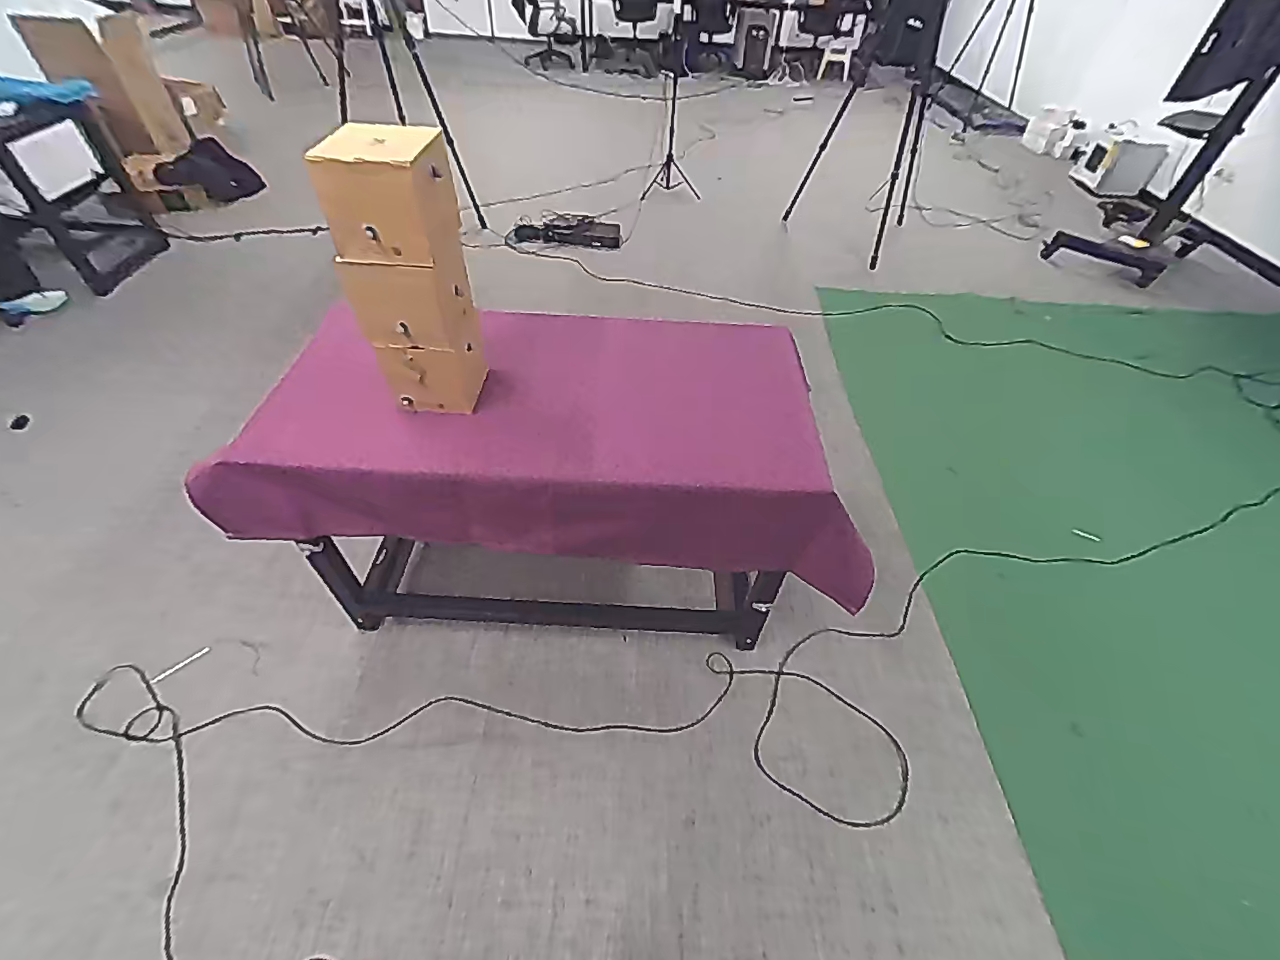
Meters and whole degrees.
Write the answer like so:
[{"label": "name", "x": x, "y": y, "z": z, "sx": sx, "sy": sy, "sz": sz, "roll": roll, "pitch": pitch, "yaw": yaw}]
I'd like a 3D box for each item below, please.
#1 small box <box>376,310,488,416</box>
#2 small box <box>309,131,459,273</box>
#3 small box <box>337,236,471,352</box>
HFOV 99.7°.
[{"label": "small box", "x": -0.439, "y": -0.256, "z": 1.175, "sx": 0.168, "sy": 0.176, "sz": 0.179, "roll": 3, "pitch": 46, "yaw": -1}, {"label": "small box", "x": -0.427, "y": -0.482, "z": 0.939, "sx": 0.168, "sy": 0.176, "sz": 0.179, "roll": 3, "pitch": 48, "yaw": 0}, {"label": "small box", "x": -0.444, "y": -0.367, "z": 1.054, "sx": 0.179, "sy": 0.176, "sz": 0.168, "roll": 5, "pitch": 46, "yaw": 0}]
